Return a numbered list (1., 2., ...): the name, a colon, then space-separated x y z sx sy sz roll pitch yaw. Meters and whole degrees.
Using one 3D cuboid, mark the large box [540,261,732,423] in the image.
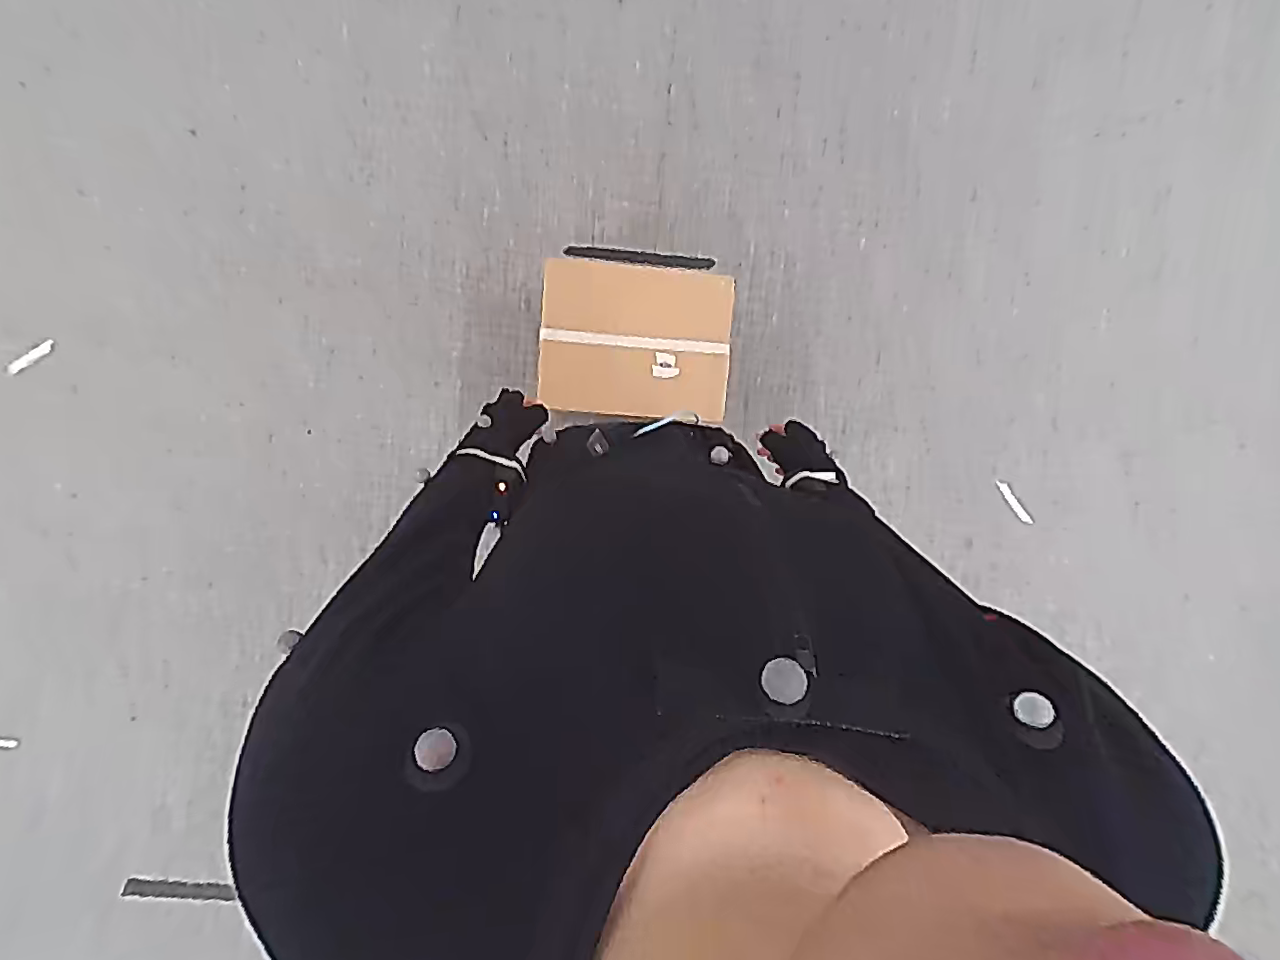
1. large box: -0.021 -0.308 1.308 0.408 0.320 0.320 4 95 -4
